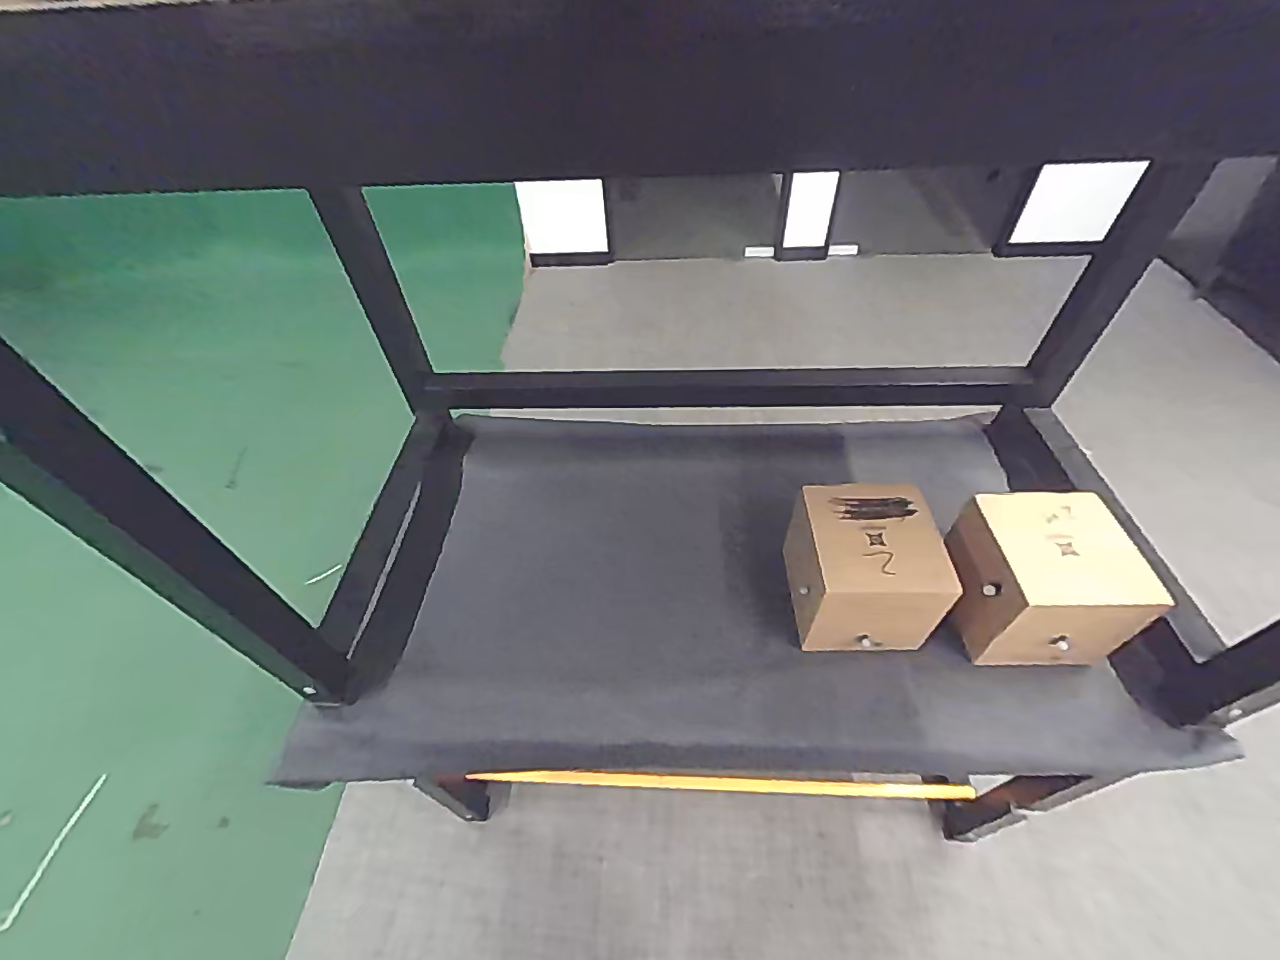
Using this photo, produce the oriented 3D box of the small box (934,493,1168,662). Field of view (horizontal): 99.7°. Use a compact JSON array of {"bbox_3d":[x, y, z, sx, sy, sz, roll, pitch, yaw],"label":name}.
[{"bbox_3d":[0.543,0.139,0.749,0.168,0.176,0.179,-1,47,2],"label":"small box"}]
